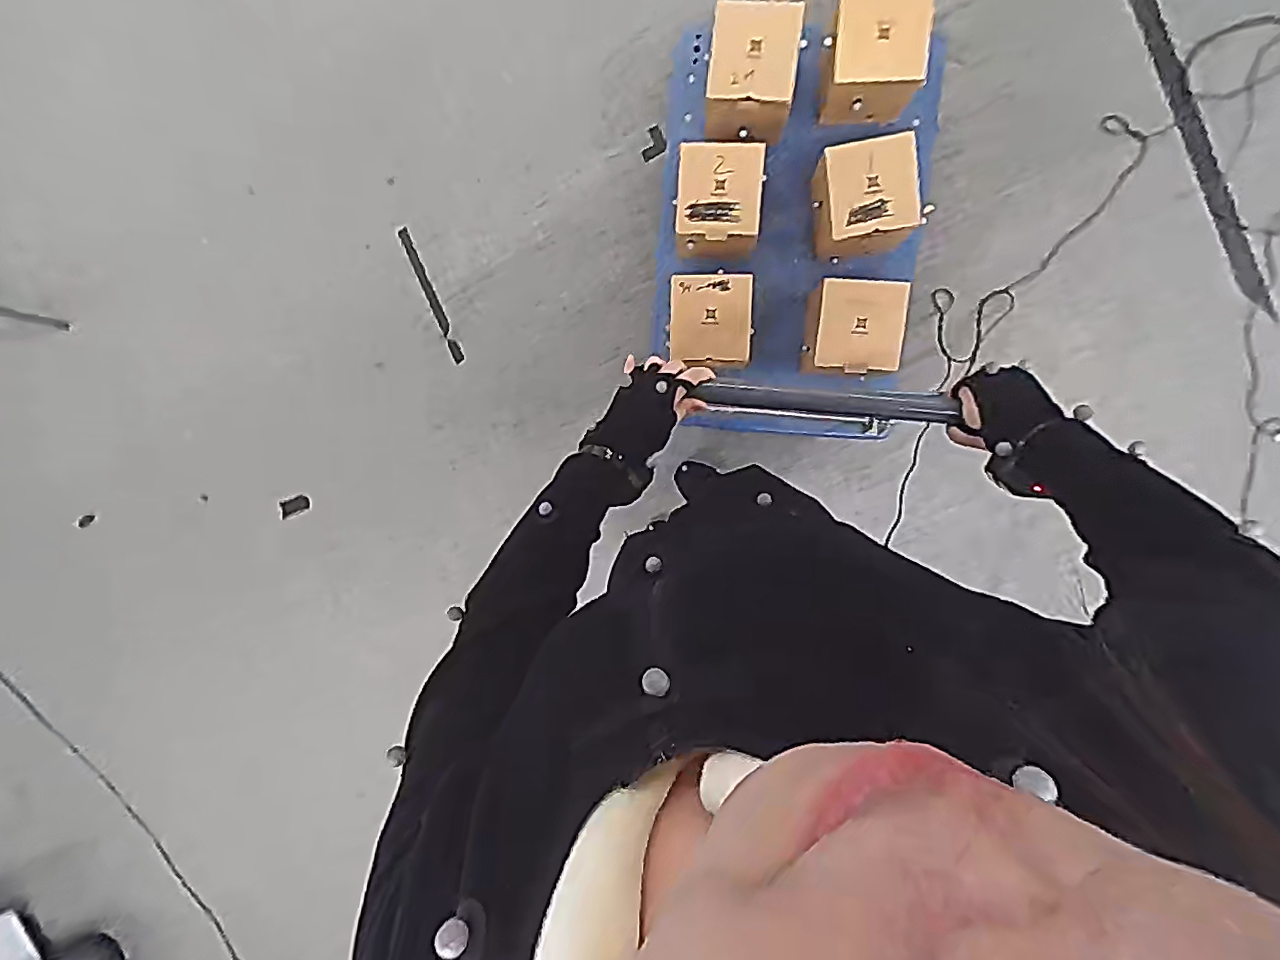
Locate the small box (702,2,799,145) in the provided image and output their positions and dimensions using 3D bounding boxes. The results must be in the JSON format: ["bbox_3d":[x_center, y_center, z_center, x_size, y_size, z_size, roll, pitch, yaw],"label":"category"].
[{"bbox_3d":[0.220,-0.831,1.117,0.168,0.176,0.179,7,99,6],"label":"small box"}]

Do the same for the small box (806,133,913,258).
[{"bbox_3d":[0.449,-0.576,1.125,0.168,0.176,0.179,-7,96,7],"label":"small box"}]

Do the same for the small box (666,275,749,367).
[{"bbox_3d":[0.147,-0.342,1.189,0.168,0.176,0.179,1,98,6],"label":"small box"}]

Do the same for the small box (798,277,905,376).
[{"bbox_3d":[0.443,-0.321,1.160,0.168,0.176,0.179,6,97,5],"label":"small box"}]

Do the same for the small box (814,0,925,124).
[{"bbox_3d":[0.453,-0.847,1.090,0.168,0.176,0.179,2,98,6],"label":"small box"}]
